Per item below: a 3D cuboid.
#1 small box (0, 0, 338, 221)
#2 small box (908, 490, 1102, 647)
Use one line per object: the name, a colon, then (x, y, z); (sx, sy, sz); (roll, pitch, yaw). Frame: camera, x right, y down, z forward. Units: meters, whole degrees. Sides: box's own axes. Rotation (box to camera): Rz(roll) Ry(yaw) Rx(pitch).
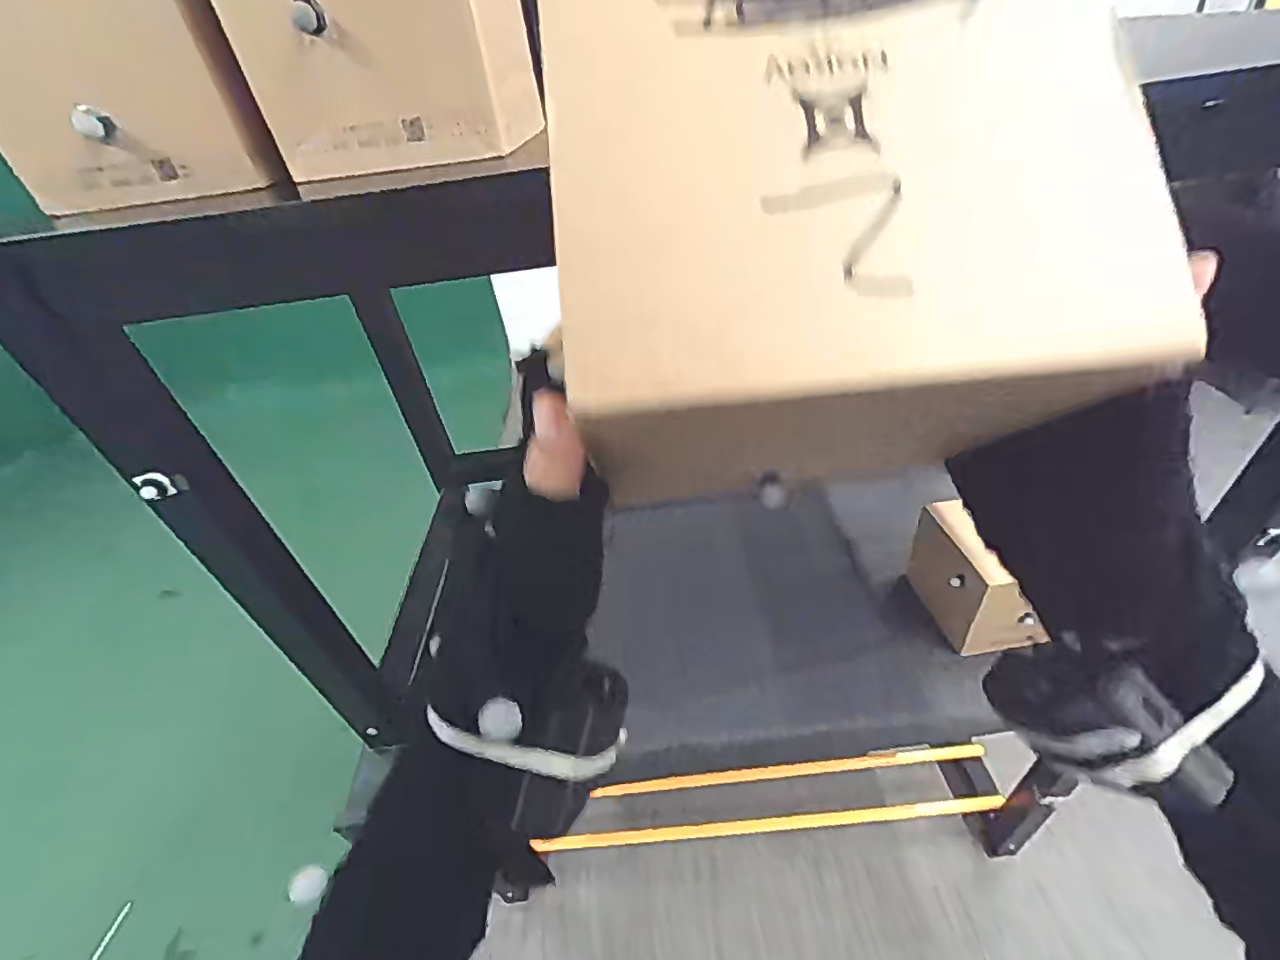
small box: (-0.370, -0.316, 0.422); (0.168, 0.176, 0.179); (-7, 40, 1)
small box: (0.552, 0.144, 0.850); (0.168, 0.176, 0.179); (-9, 38, -1)
